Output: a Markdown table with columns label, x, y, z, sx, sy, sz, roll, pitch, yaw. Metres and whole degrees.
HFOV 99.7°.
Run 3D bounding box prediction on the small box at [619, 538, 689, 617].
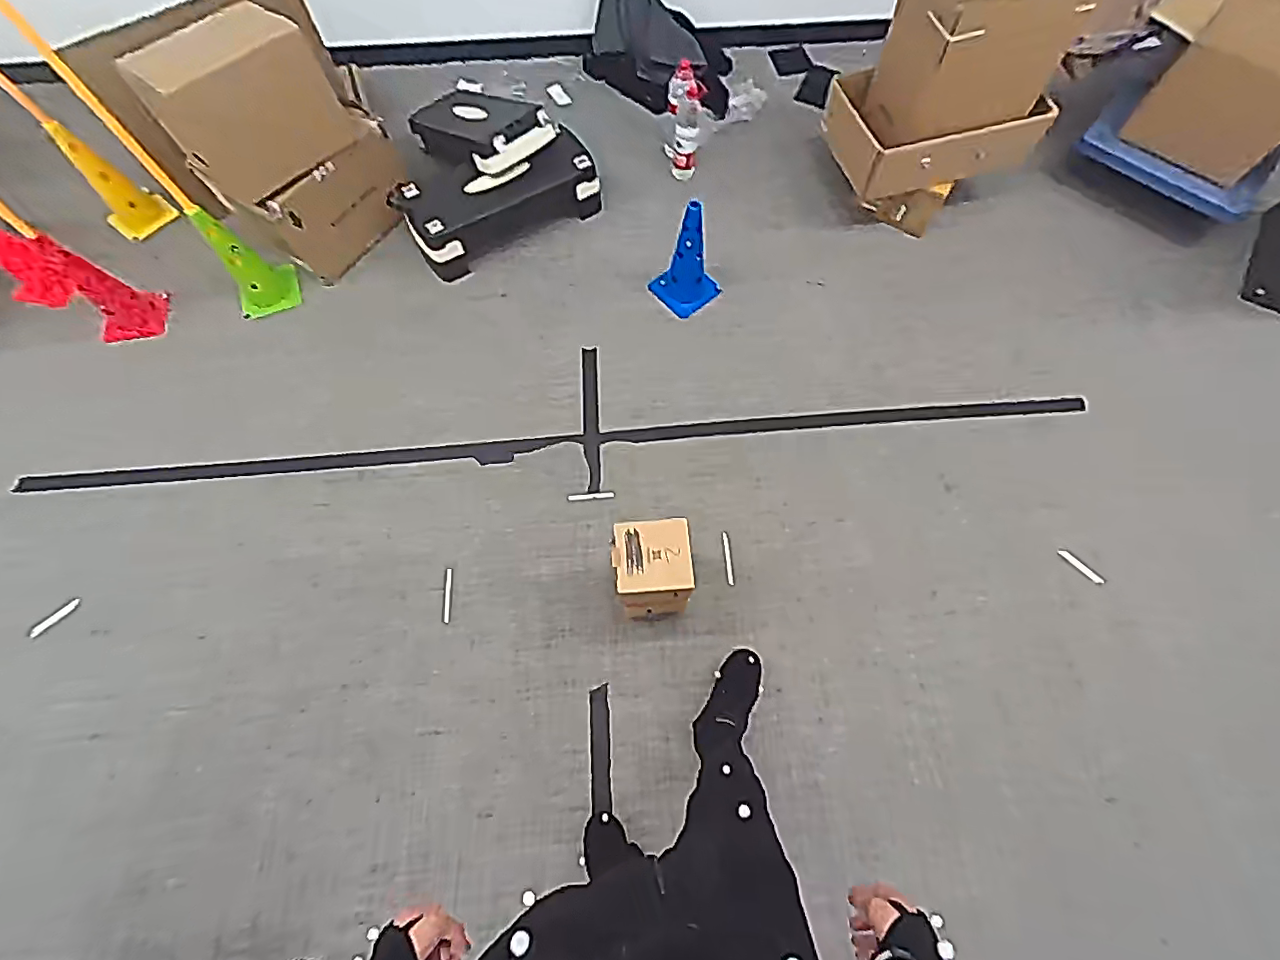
| label | x | y | z | sx | sy | sz | roll | pitch | yaw |
| --- | --- | --- | --- | --- | --- | --- | --- | --- | --- |
| small box | 0.036 | 0.268 | 1.453 | 0.168 | 0.176 | 0.179 | -7 | 68 | -3 |
